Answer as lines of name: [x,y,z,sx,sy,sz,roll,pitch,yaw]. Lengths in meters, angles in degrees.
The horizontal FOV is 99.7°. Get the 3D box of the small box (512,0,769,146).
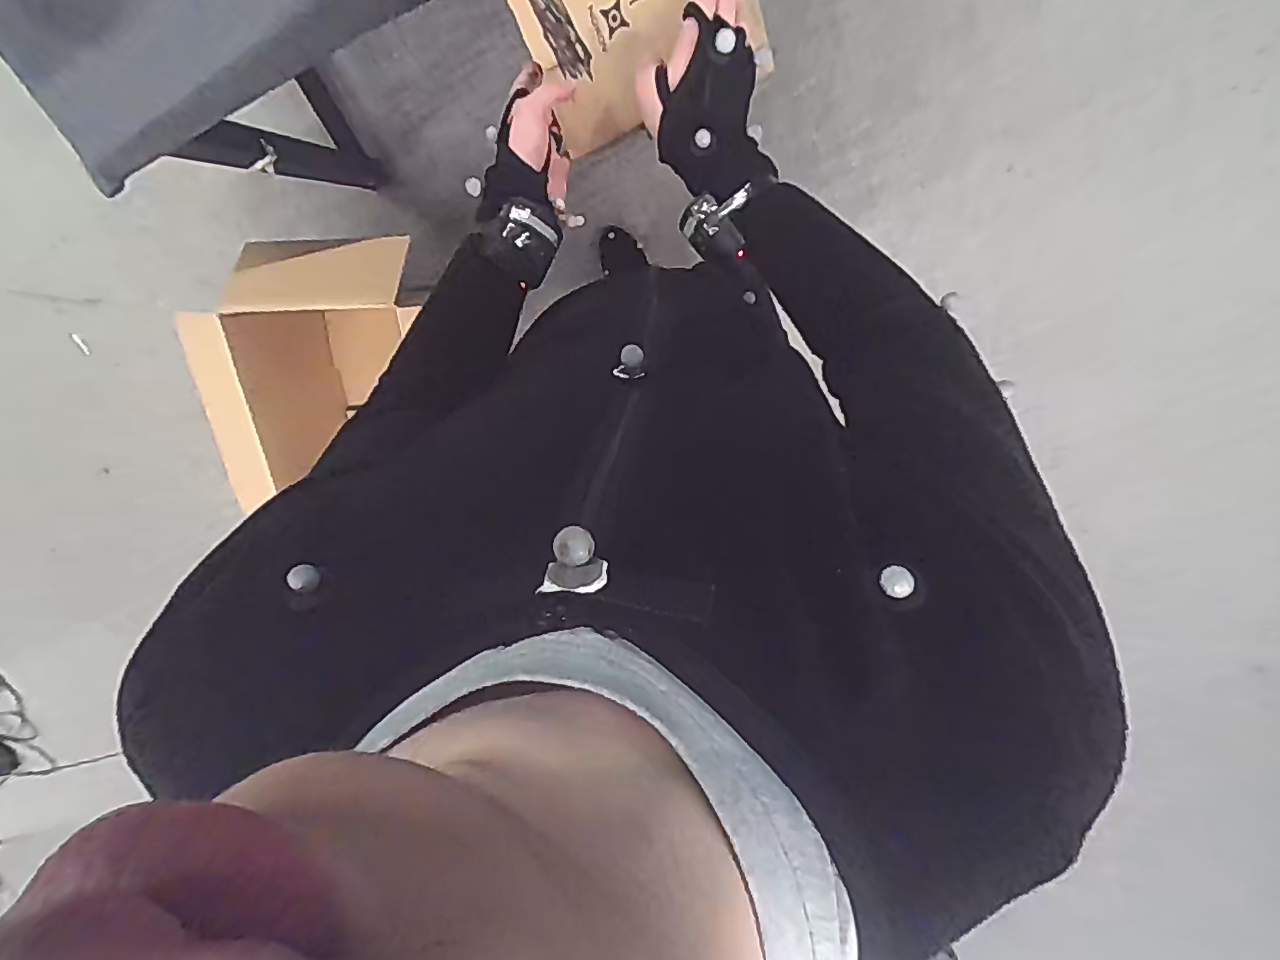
small box: [0.004,-0.454,0.523,0.179,0.176,0.168,-5,122,34]
